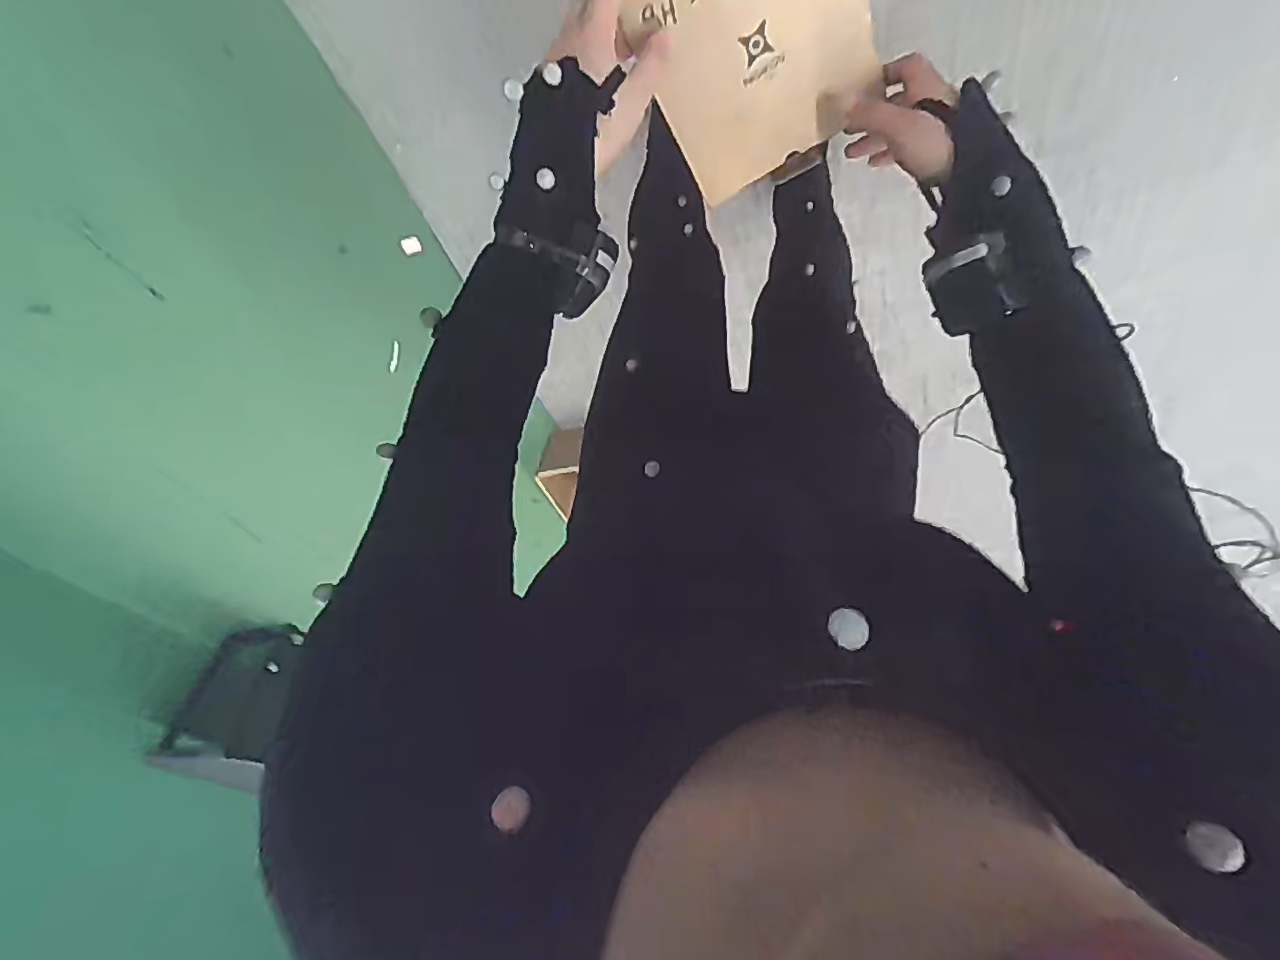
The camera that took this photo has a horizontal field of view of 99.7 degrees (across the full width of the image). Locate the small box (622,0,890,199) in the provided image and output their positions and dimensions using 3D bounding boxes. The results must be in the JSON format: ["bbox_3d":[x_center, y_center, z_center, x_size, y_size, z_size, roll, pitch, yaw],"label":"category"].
[{"bbox_3d":[0.094,-0.398,0.472,0.168,0.176,0.179,-23,137,21],"label":"small box"}]
